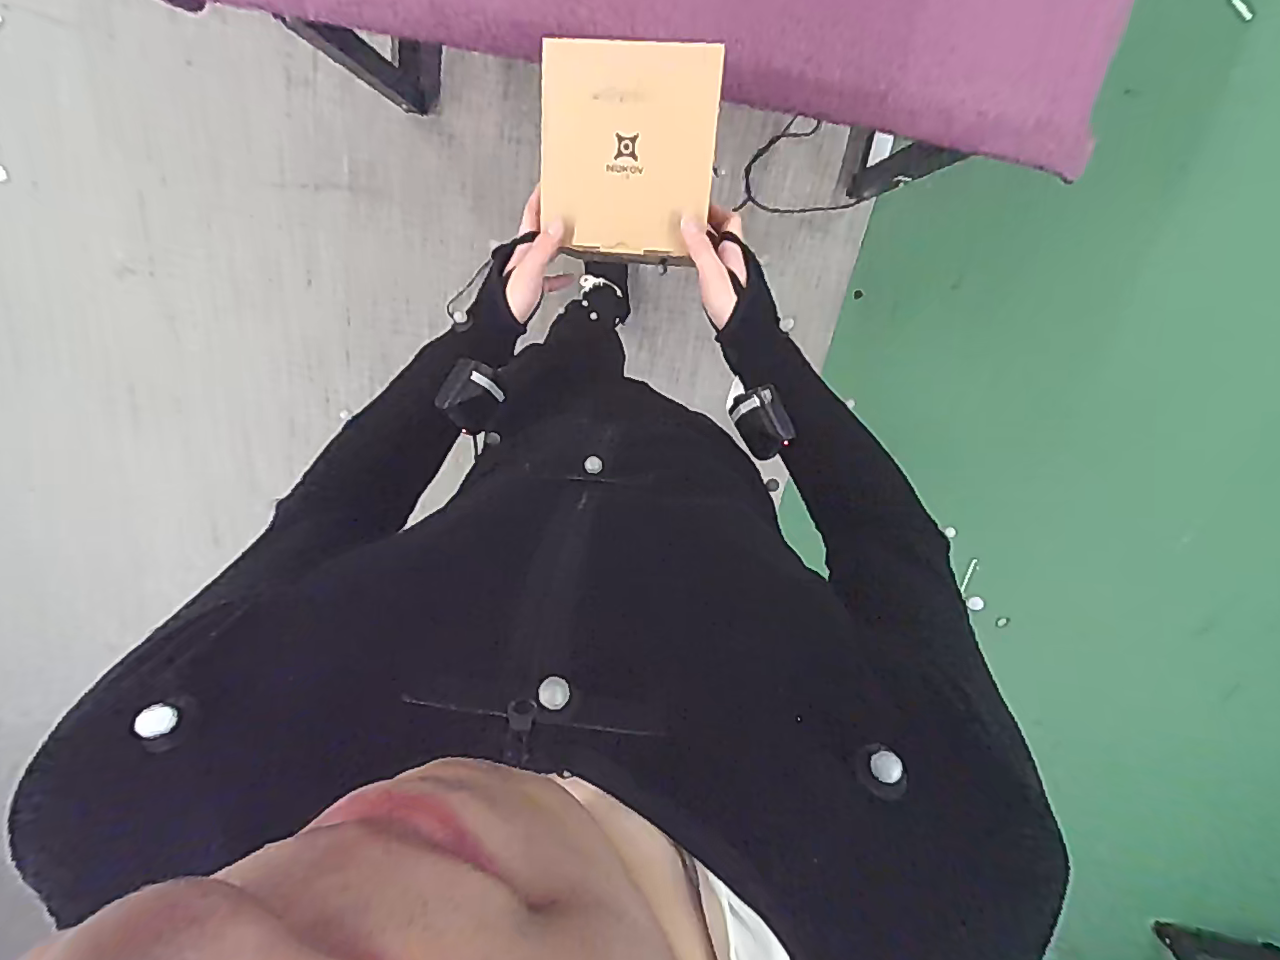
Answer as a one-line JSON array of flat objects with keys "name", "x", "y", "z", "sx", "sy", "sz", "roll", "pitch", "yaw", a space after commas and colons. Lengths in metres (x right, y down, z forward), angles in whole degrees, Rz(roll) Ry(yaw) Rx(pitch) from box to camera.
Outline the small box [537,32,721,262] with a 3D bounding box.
[{"name": "small box", "x": -0.006, "y": -0.336, "z": 0.580, "sx": 0.168, "sy": 0.176, "sz": 0.179, "roll": 6, "pitch": 108, "yaw": 5}]
